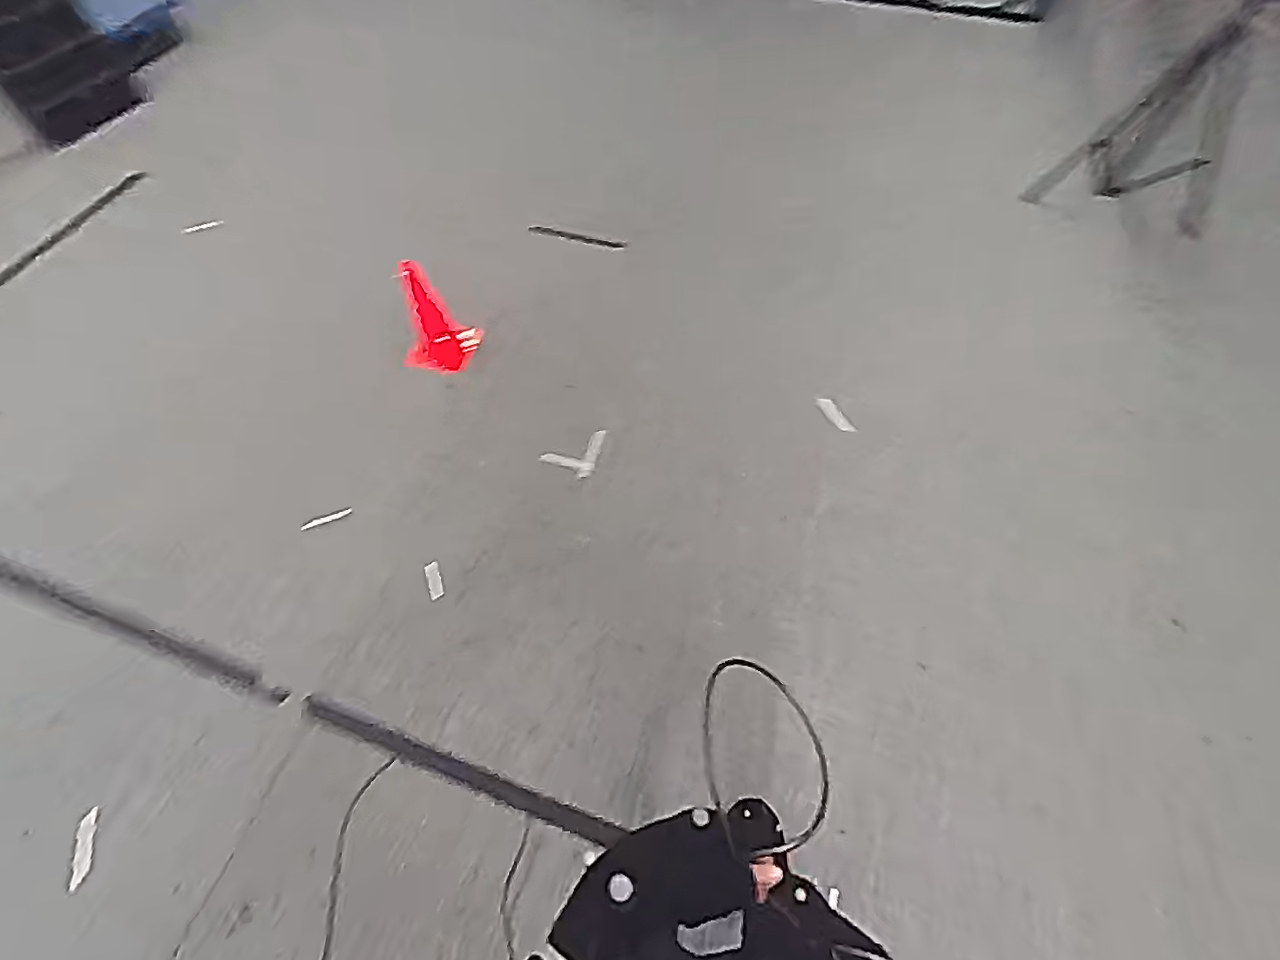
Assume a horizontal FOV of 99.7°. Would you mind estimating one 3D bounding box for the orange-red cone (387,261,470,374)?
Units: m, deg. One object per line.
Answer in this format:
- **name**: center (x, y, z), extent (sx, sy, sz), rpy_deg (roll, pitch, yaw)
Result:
- **orange-red cone**: center (-0.716, -0.537, 1.727), extent (0.199, 0.360, 0.198), rpy_deg (11, 61, 9)
